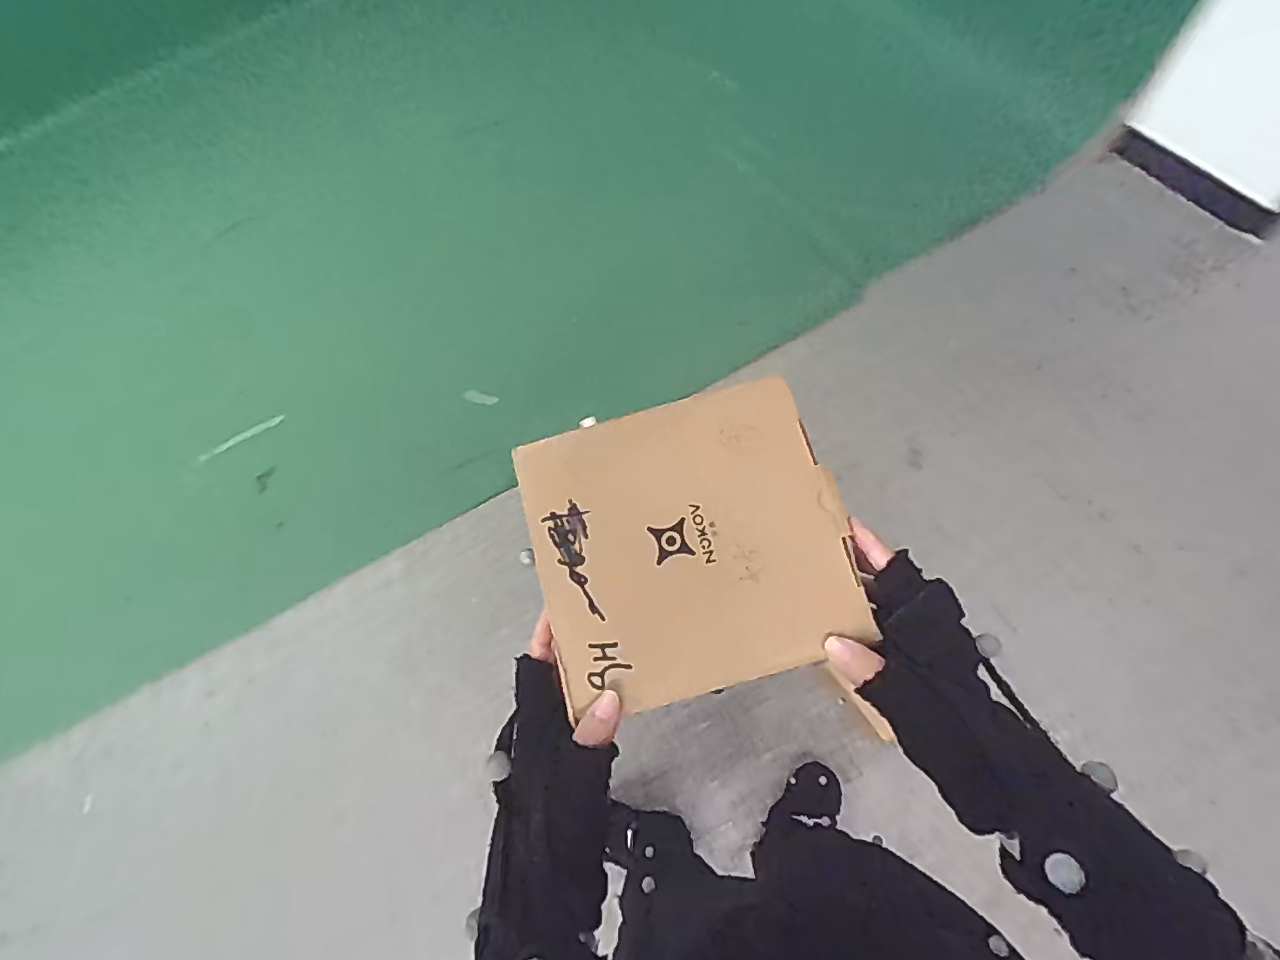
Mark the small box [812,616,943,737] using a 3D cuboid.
[{"bbox_3d":[0.496,0.417,1.158,0.168,0.176,0.179,-37,67,-7],"label":"small box"}]
